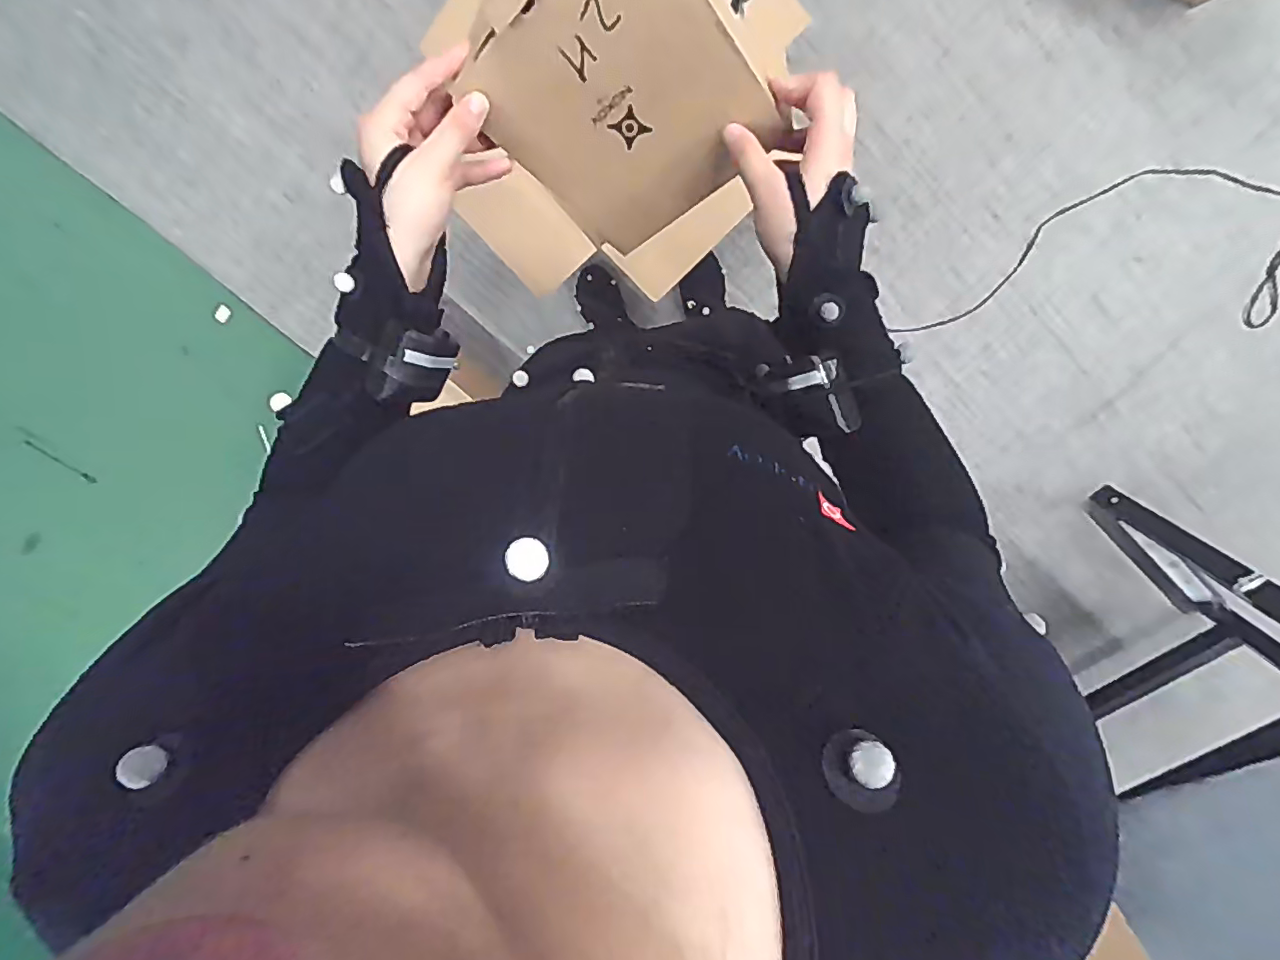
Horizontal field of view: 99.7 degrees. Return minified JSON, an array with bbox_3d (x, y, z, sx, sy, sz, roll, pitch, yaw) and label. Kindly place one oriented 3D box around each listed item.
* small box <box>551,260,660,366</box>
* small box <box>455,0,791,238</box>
[{"bbox_3d":[-0.078,-0.394,1.286,0.176,0.168,0.179,23,91,-36],"label":"small box"},{"bbox_3d":[-0.004,-0.334,0.404,0.168,0.176,0.179,-20,146,38],"label":"small box"}]
